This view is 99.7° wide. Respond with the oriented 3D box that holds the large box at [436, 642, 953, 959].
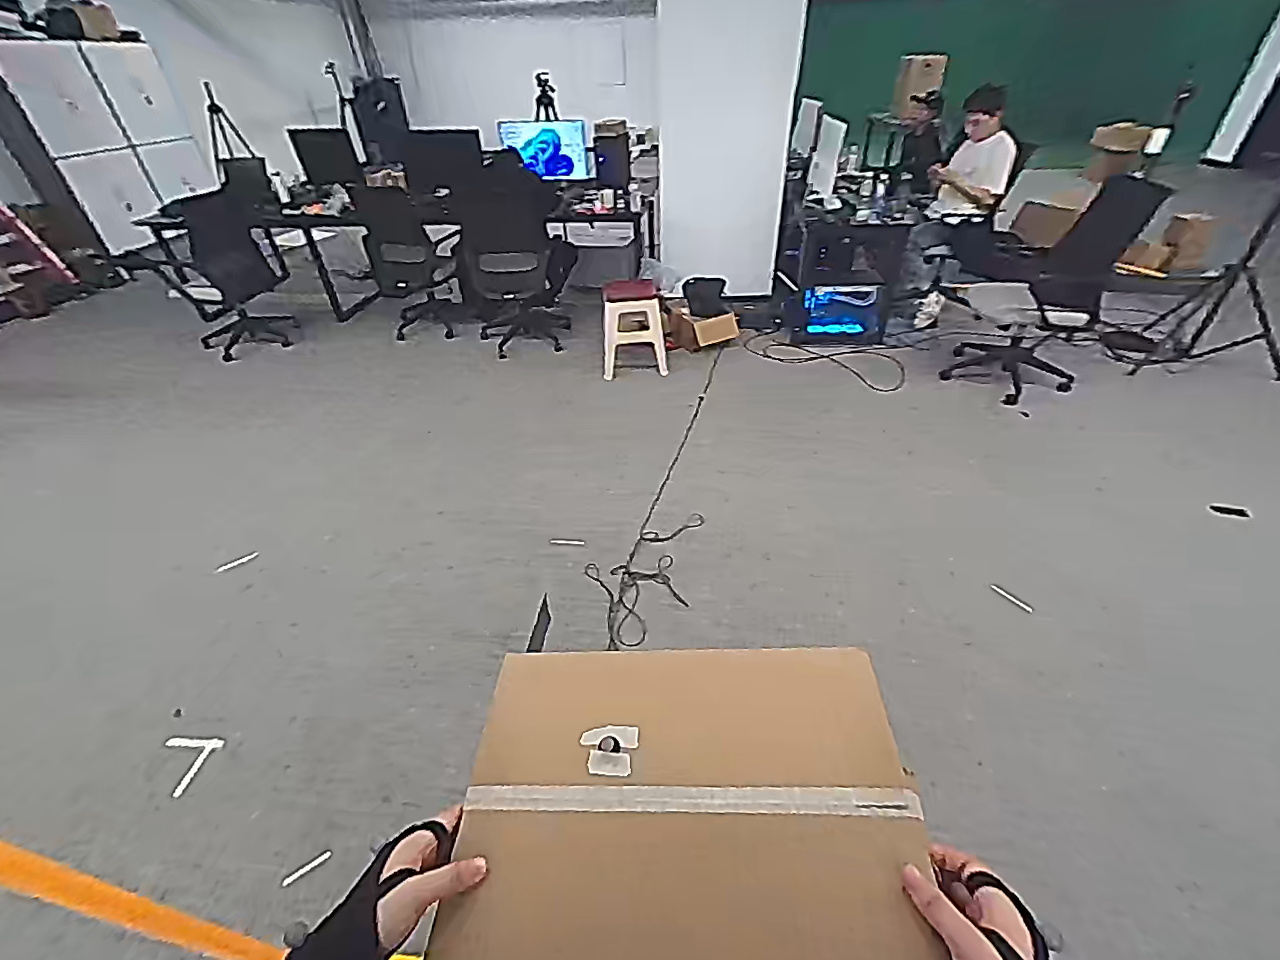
[{"bbox_3d":[0.060,0.408,0.595,0.408,0.320,0.320,-5,38,8],"label":"large box"}]
